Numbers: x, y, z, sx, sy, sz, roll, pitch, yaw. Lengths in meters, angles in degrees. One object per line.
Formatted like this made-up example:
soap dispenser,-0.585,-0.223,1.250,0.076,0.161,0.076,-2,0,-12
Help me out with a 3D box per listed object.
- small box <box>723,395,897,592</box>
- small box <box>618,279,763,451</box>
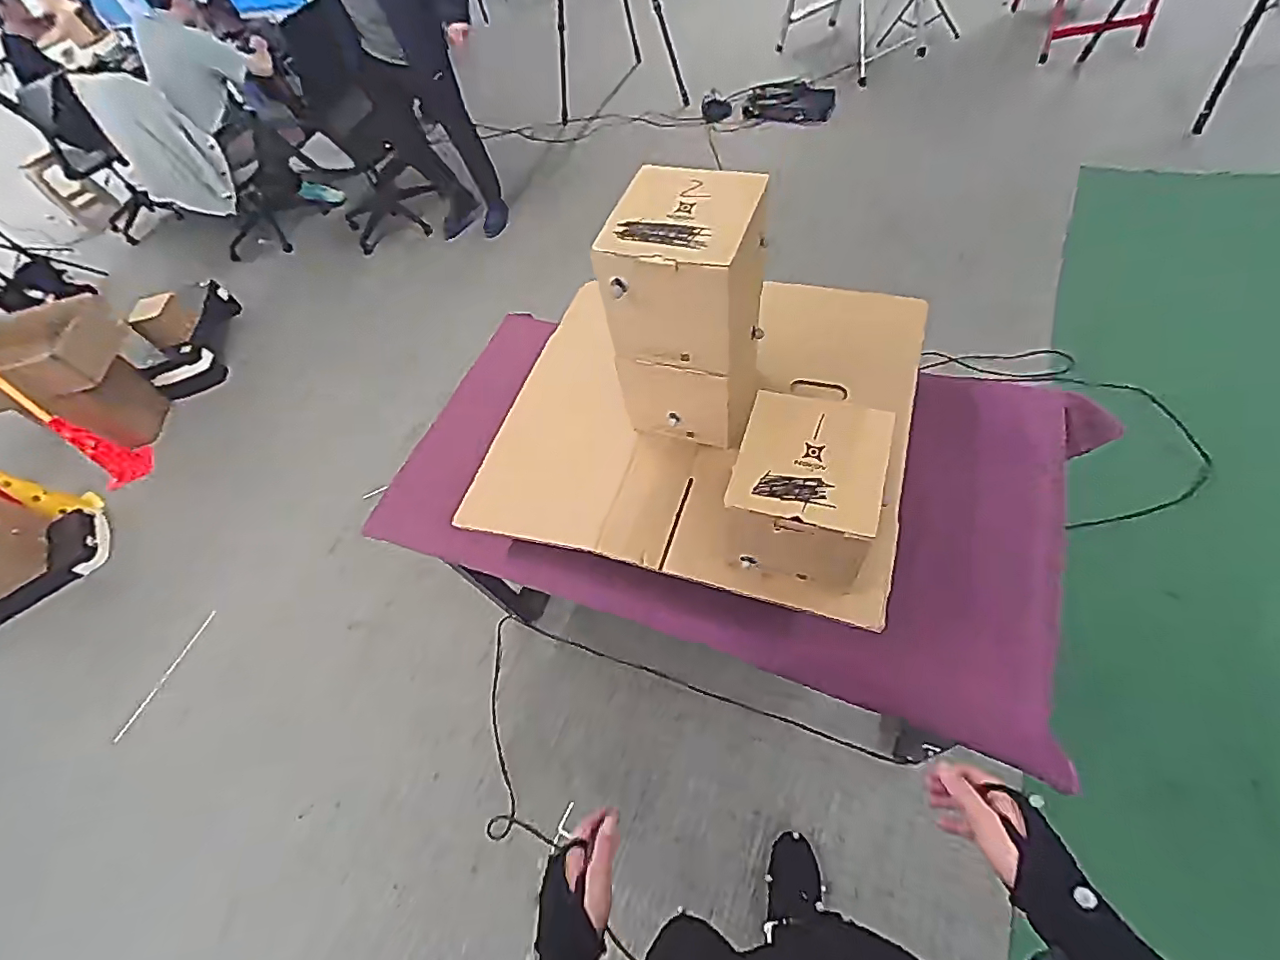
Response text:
small box,0.211,0.022,0.689,0.168,0.176,0.179,13,61,17
small box,0.083,-0.174,0.830,0.168,0.176,0.179,14,63,17
